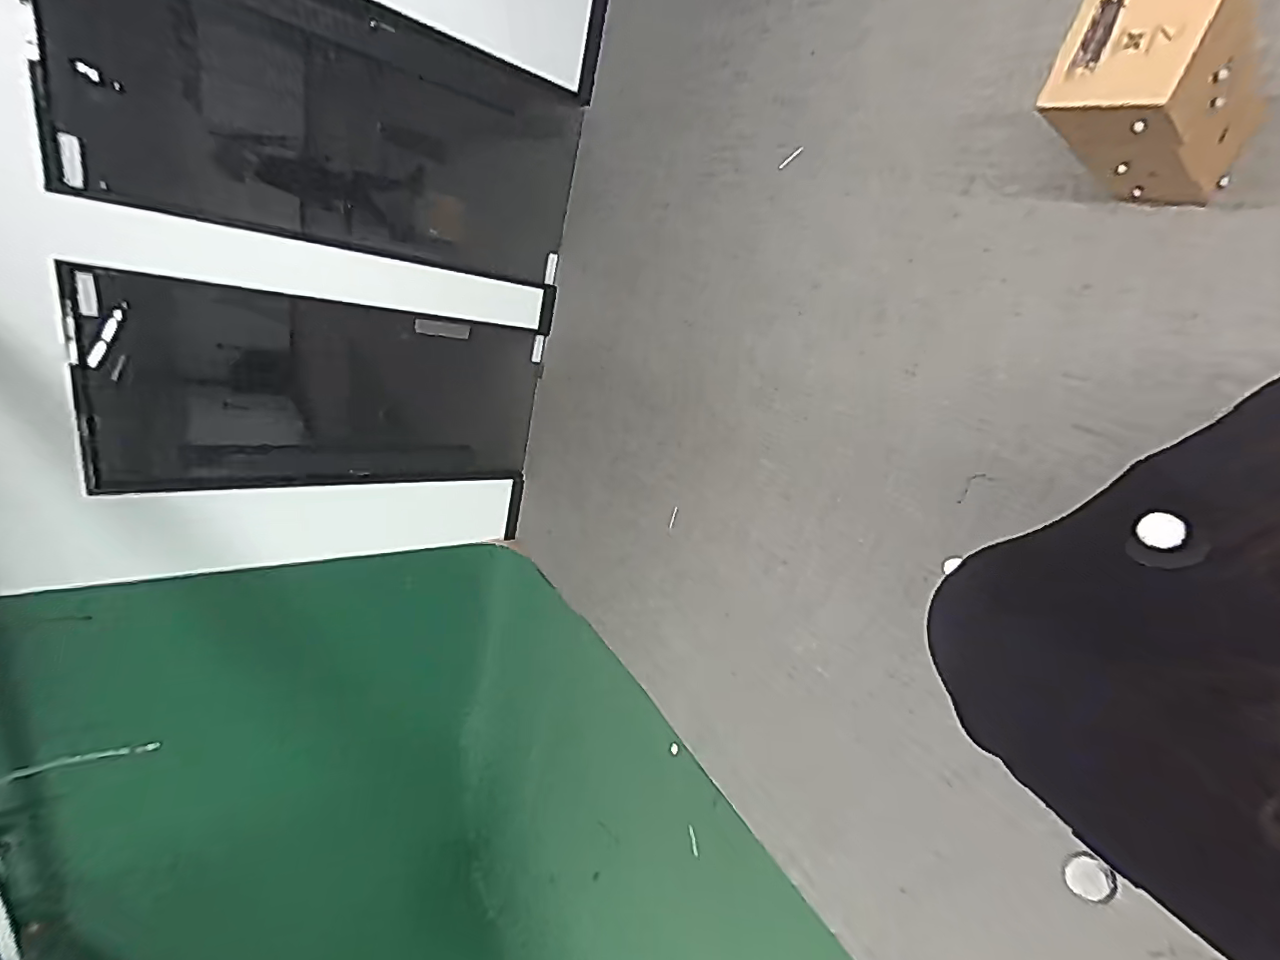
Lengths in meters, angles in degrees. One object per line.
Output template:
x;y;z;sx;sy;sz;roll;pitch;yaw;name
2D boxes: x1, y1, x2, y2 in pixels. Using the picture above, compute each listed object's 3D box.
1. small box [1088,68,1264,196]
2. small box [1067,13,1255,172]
1.022;-0.657;1.032;0.179;0.176;0.168;40;123;45;small box
0.895;-0.649;0.928;0.168;0.176;0.179;39;122;44;small box
